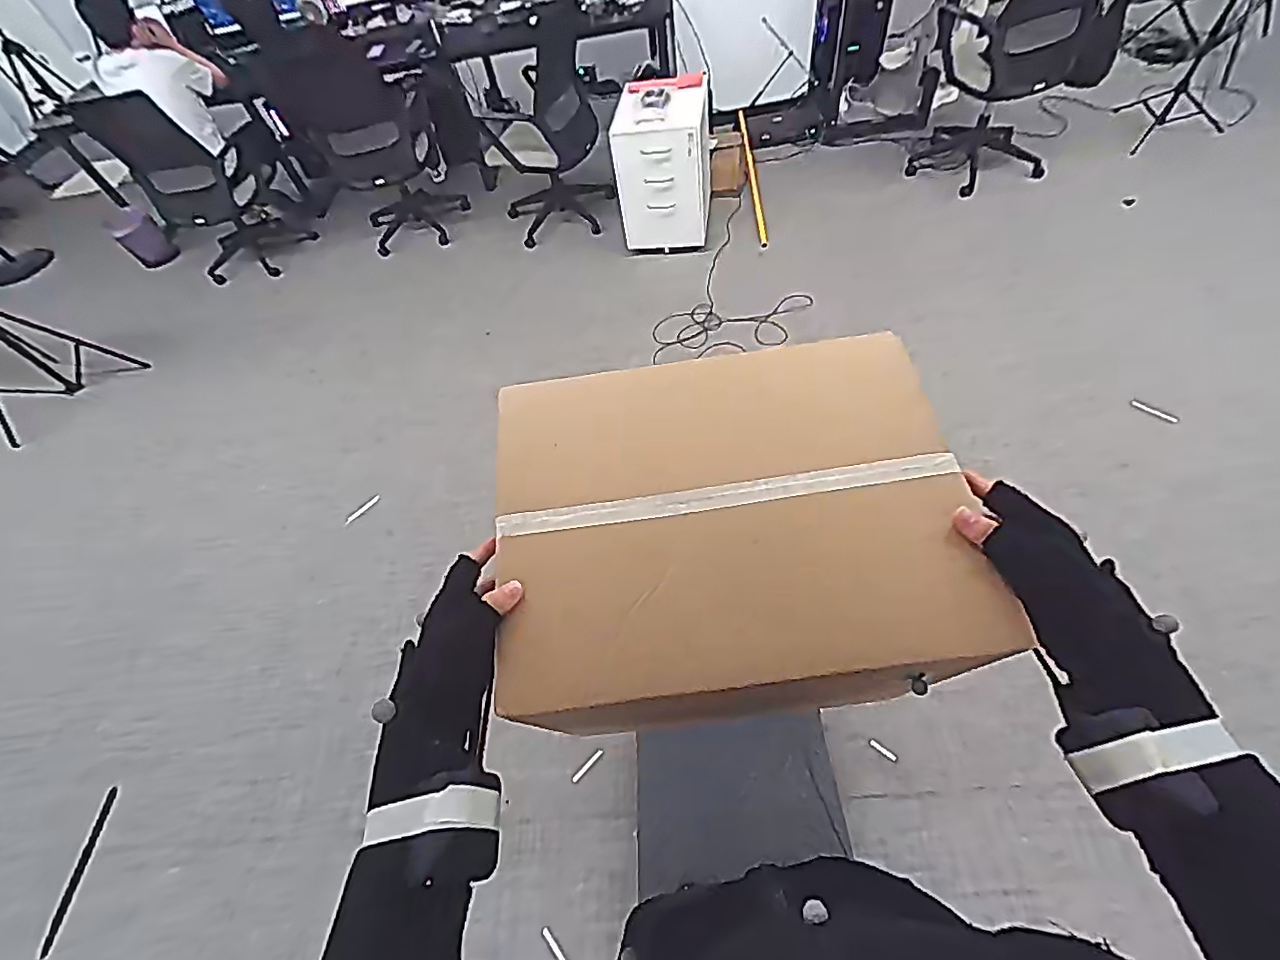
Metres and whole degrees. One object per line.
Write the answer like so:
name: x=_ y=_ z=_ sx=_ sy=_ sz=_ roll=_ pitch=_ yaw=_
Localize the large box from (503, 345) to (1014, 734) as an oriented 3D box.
large box: x=0.087 y=0.091 z=0.614 sx=0.408 sy=0.320 sz=0.320 roll=-8 pitch=61 yaw=1
